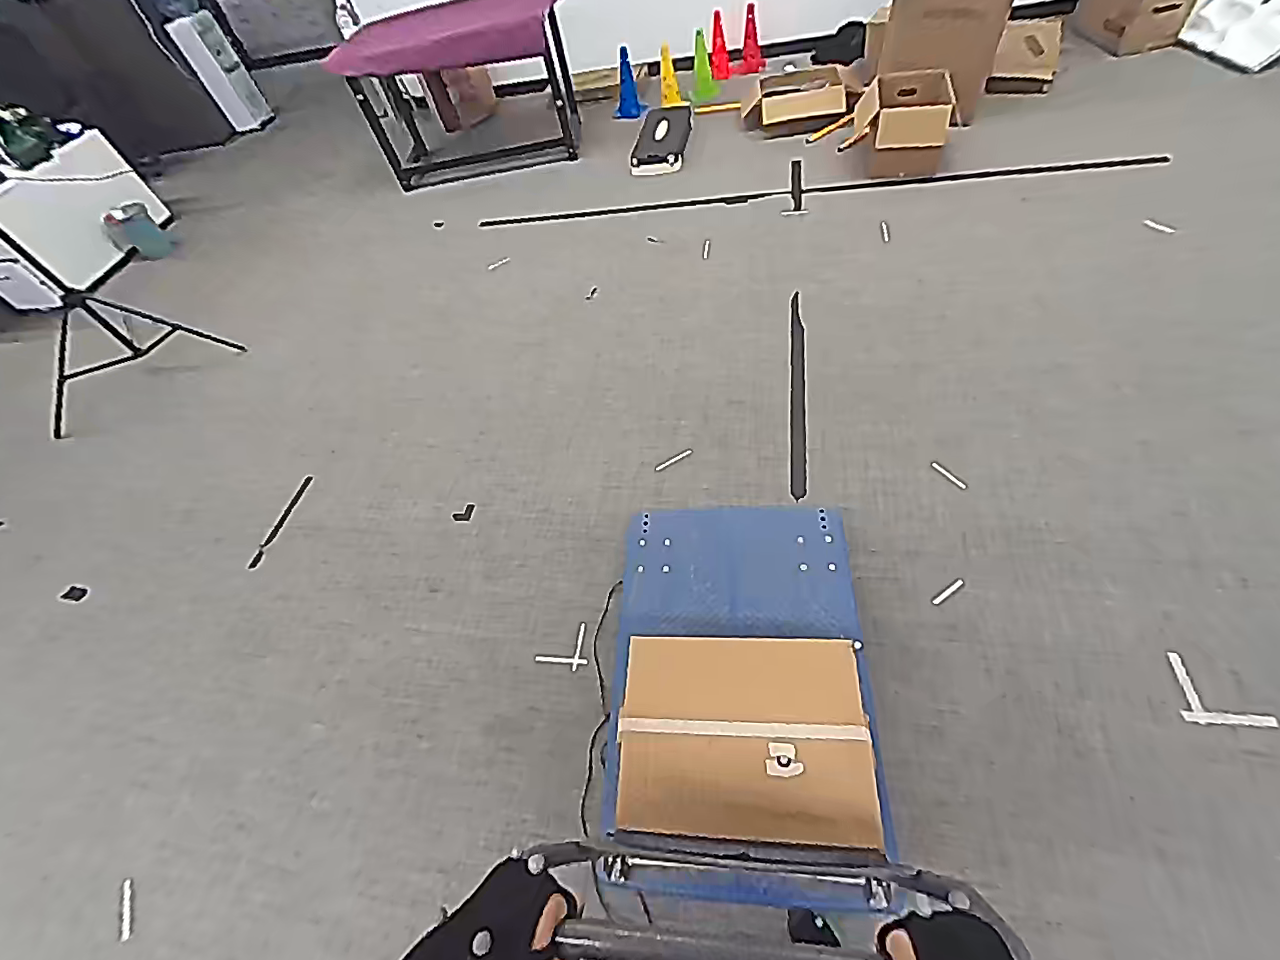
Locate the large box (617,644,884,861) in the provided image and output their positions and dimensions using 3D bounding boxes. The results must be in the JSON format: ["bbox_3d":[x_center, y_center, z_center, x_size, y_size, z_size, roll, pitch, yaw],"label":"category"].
[{"bbox_3d":[0.188,0.511,1.011,0.408,0.320,0.320,-2,55,9],"label":"large box"}]
